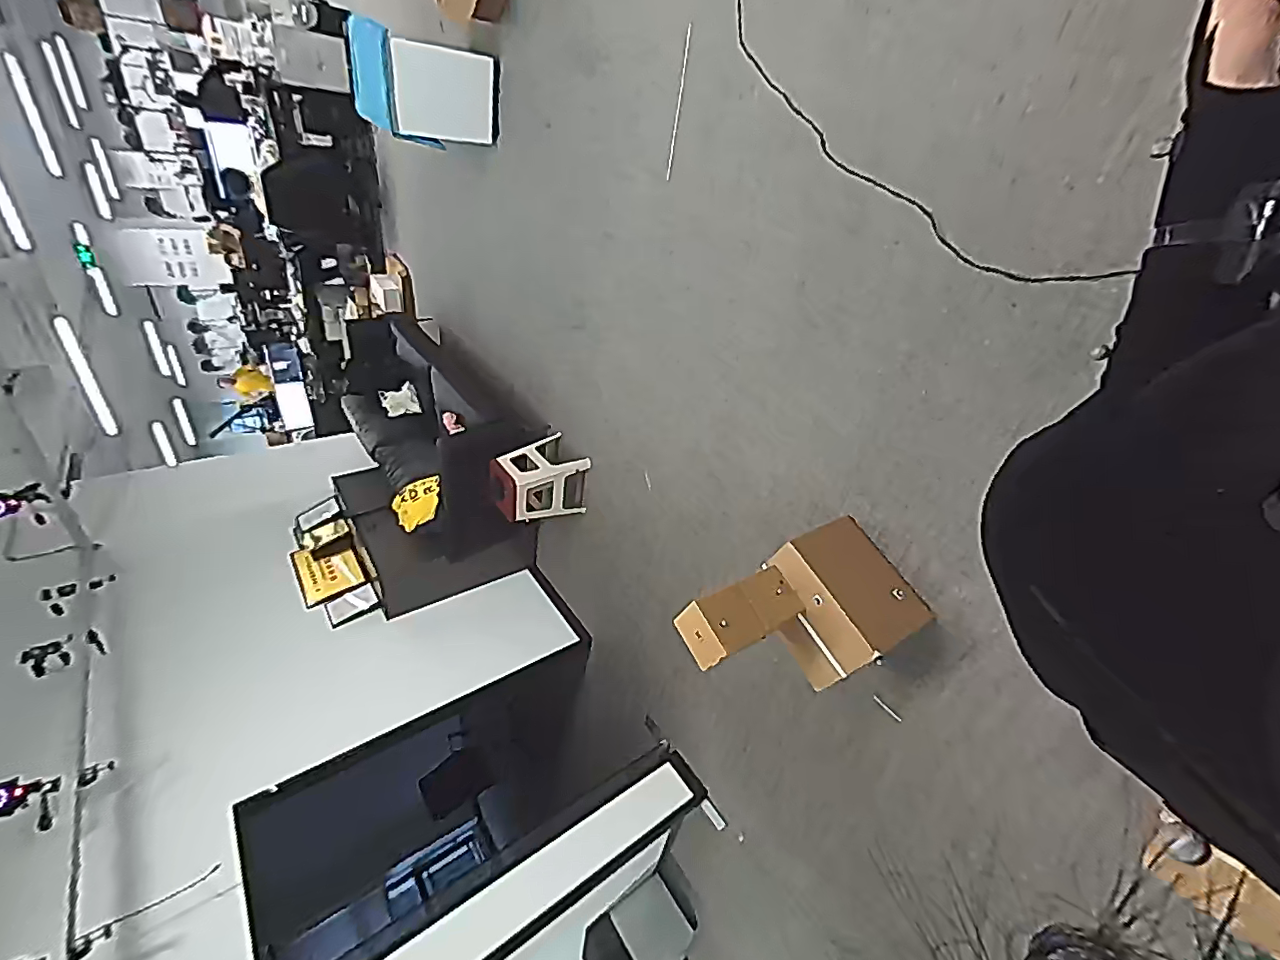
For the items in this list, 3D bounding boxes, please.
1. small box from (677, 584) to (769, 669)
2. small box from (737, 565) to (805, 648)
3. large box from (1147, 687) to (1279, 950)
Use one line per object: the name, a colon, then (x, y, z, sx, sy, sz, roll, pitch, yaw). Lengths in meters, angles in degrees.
small box: (0.246, 0.428, 1.612, 0.179, 0.176, 0.168, 57, 145, 22)
small box: (0.381, 0.395, 1.696, 0.168, 0.176, 0.179, 57, 144, 23)
large box: (1.264, 0.666, 0.983, 0.408, 0.320, 0.320, 27, 126, 46)
